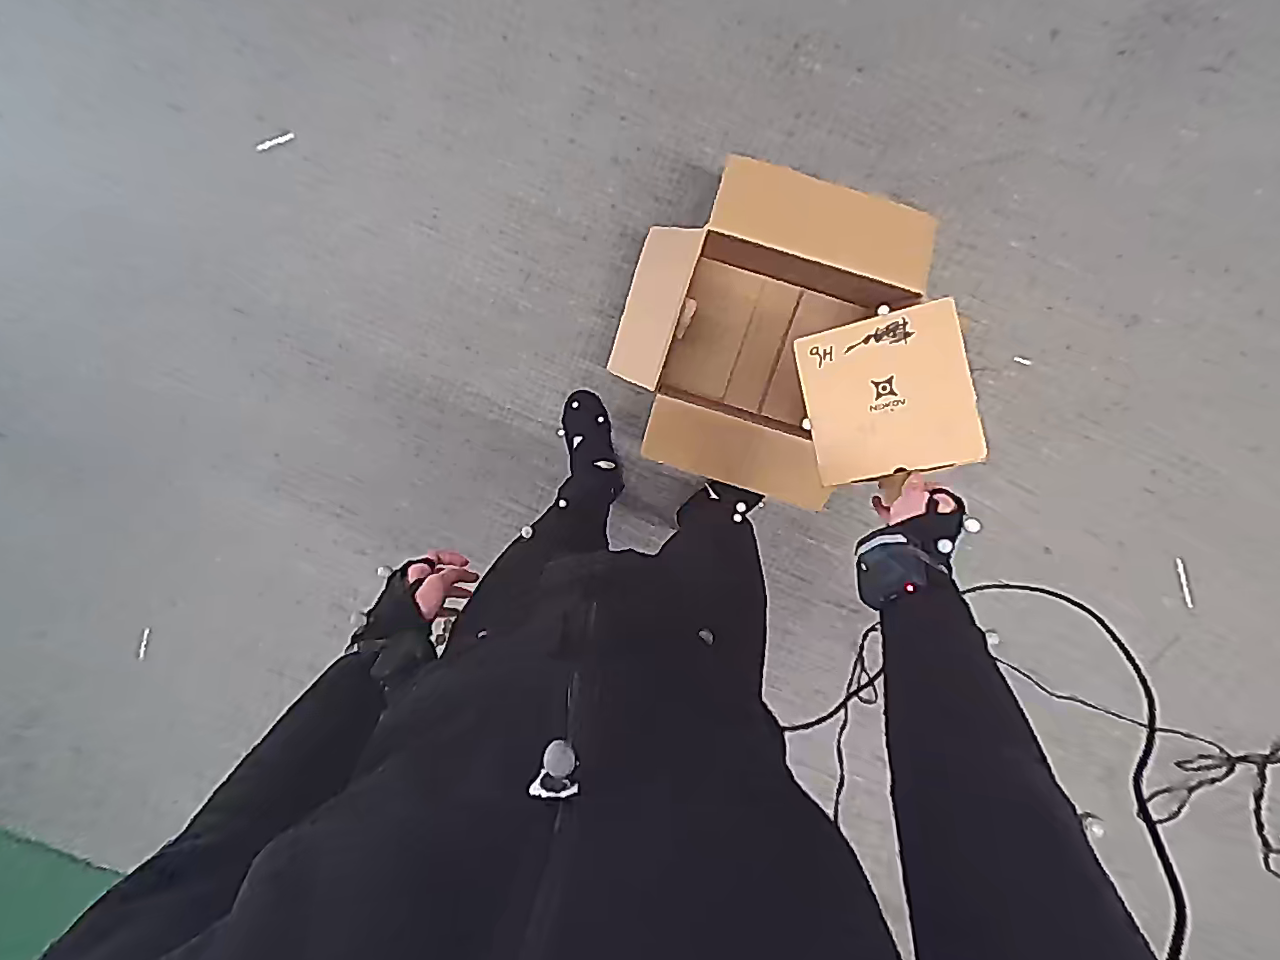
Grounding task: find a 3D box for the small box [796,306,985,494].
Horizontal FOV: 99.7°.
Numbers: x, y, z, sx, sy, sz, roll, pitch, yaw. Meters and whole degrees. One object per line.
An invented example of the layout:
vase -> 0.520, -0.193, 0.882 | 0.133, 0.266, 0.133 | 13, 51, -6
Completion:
small box -> 0.295, -0.085, 0.656 | 0.168, 0.176, 0.179 | -11, 87, 21
